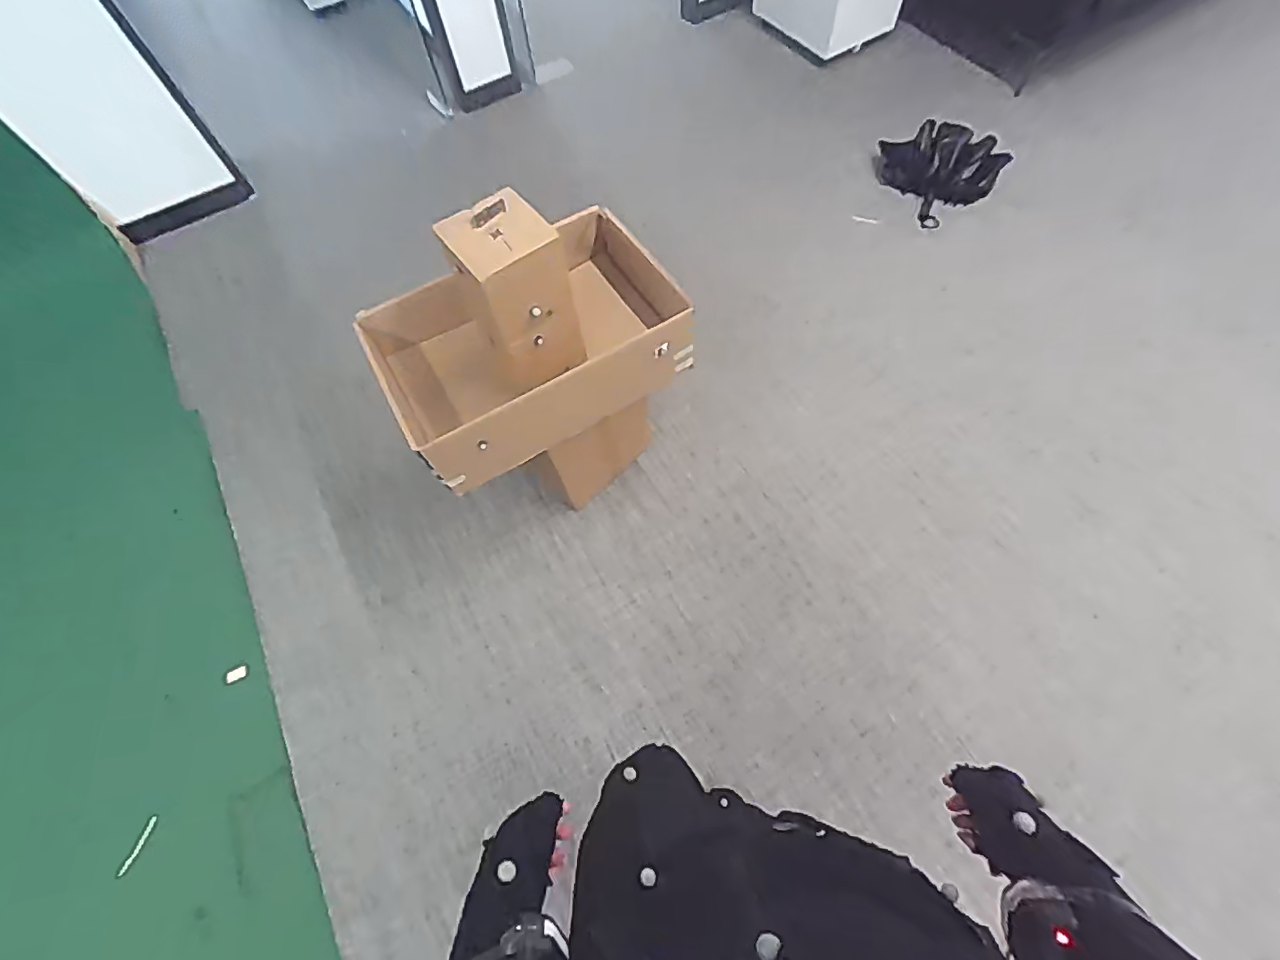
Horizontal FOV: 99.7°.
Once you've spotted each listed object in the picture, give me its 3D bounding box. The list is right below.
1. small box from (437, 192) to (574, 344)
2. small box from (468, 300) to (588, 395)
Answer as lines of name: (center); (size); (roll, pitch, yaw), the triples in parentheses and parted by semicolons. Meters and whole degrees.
small box: (-0.246, -0.393, 1.019); (0.168, 0.176, 0.179); (-35, 67, -13)
small box: (-0.235, -0.317, 1.165); (0.168, 0.176, 0.179); (-37, 66, -12)
